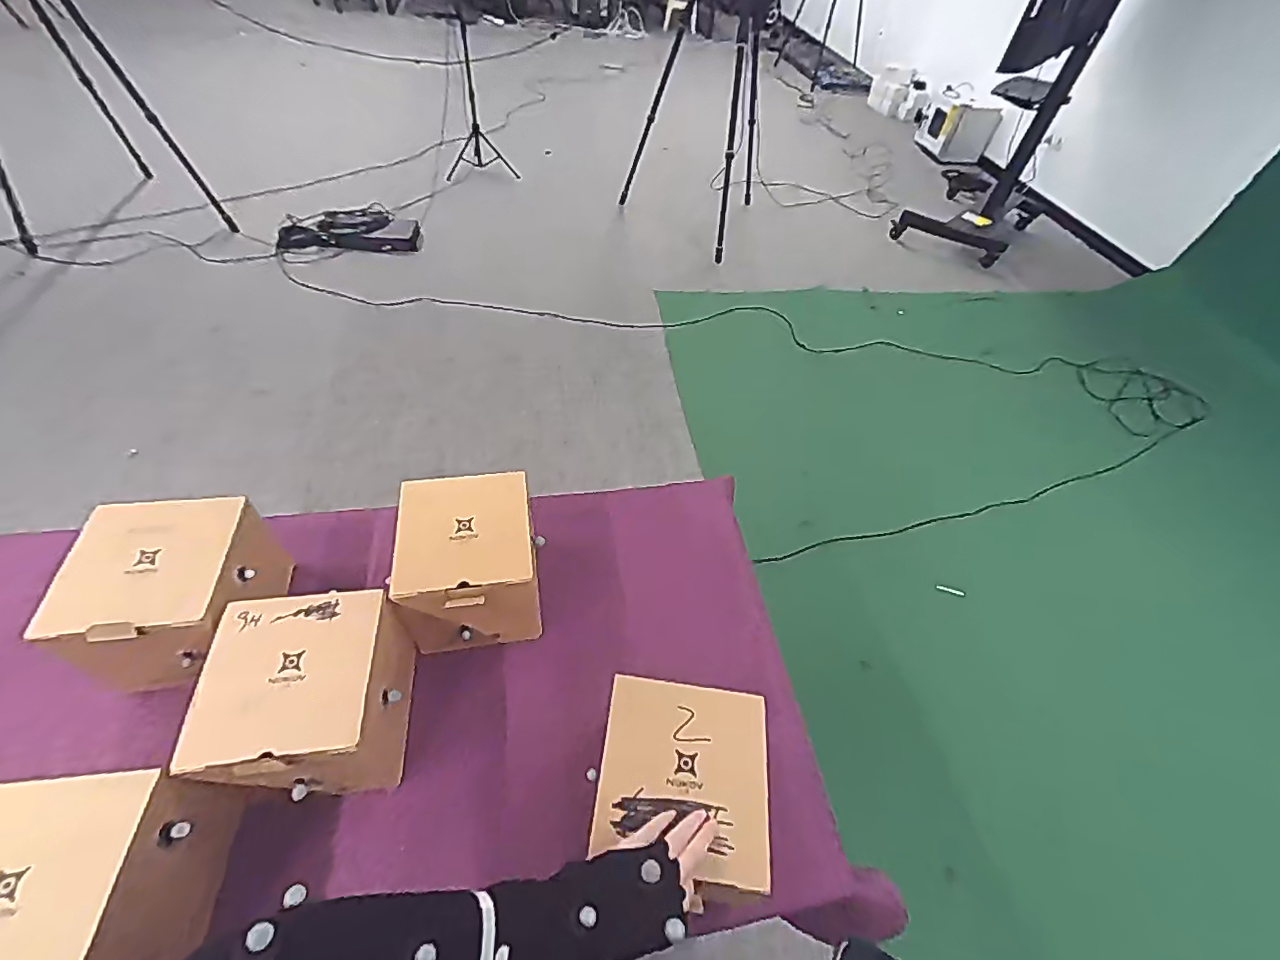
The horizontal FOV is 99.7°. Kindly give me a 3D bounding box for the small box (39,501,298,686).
[{"bbox_3d":[-0.568,0.149,0.689,0.168,0.176,0.179,-4,51,-10],"label":"small box"}]

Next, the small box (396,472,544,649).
[{"bbox_3d":[-0.227,0.113,0.754,0.168,0.176,0.179,-6,53,-11],"label":"small box"}]

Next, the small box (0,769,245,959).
[{"bbox_3d":[-0.506,0.387,0.495,0.168,0.176,0.179,-3,51,-7],"label":"small box"}]
